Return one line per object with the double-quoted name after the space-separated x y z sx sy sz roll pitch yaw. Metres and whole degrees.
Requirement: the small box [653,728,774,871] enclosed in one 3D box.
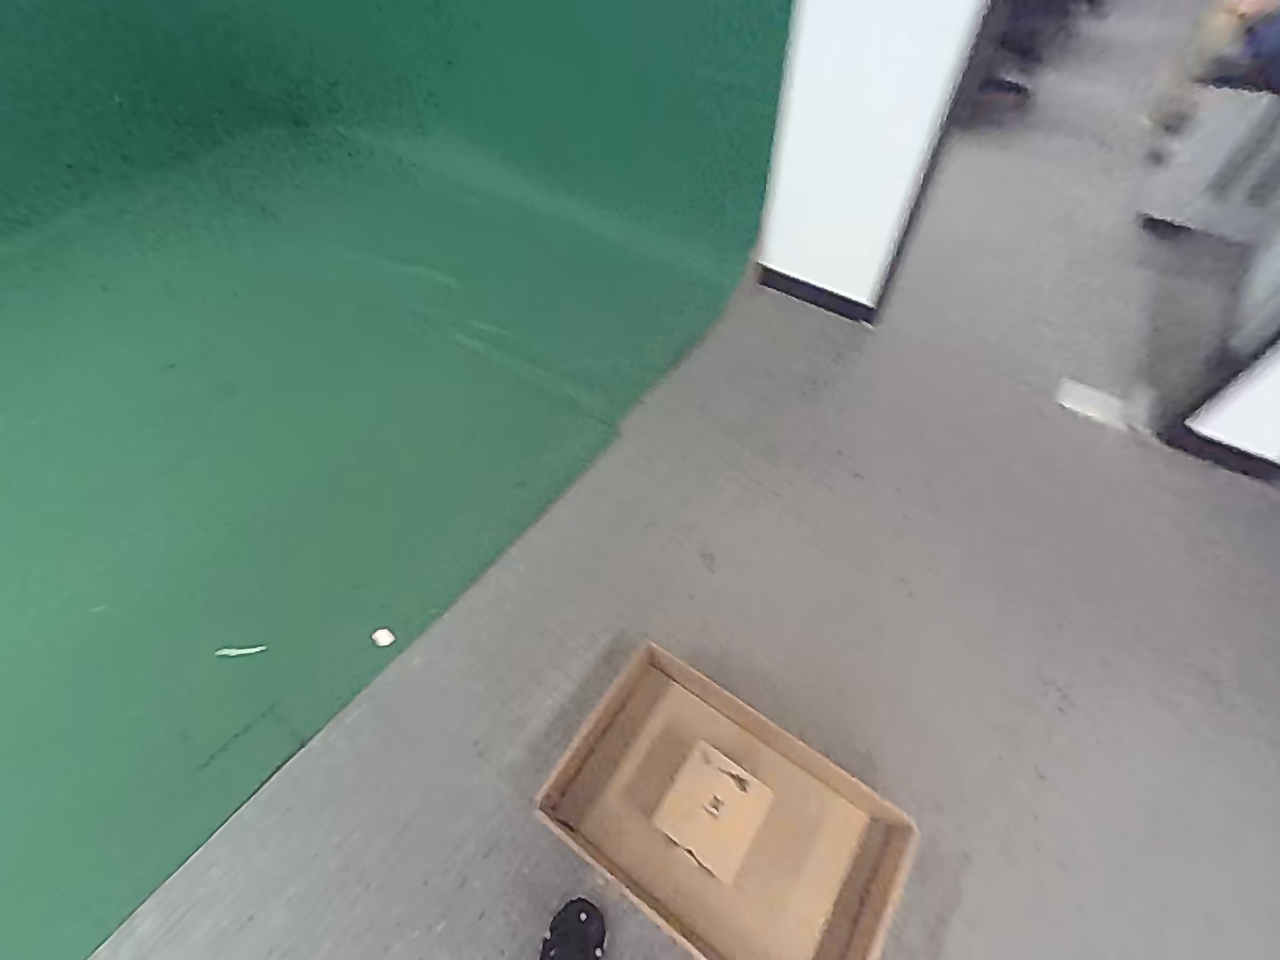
0.145 0.635 1.078 0.168 0.176 0.179 30 63 21 "small box"
